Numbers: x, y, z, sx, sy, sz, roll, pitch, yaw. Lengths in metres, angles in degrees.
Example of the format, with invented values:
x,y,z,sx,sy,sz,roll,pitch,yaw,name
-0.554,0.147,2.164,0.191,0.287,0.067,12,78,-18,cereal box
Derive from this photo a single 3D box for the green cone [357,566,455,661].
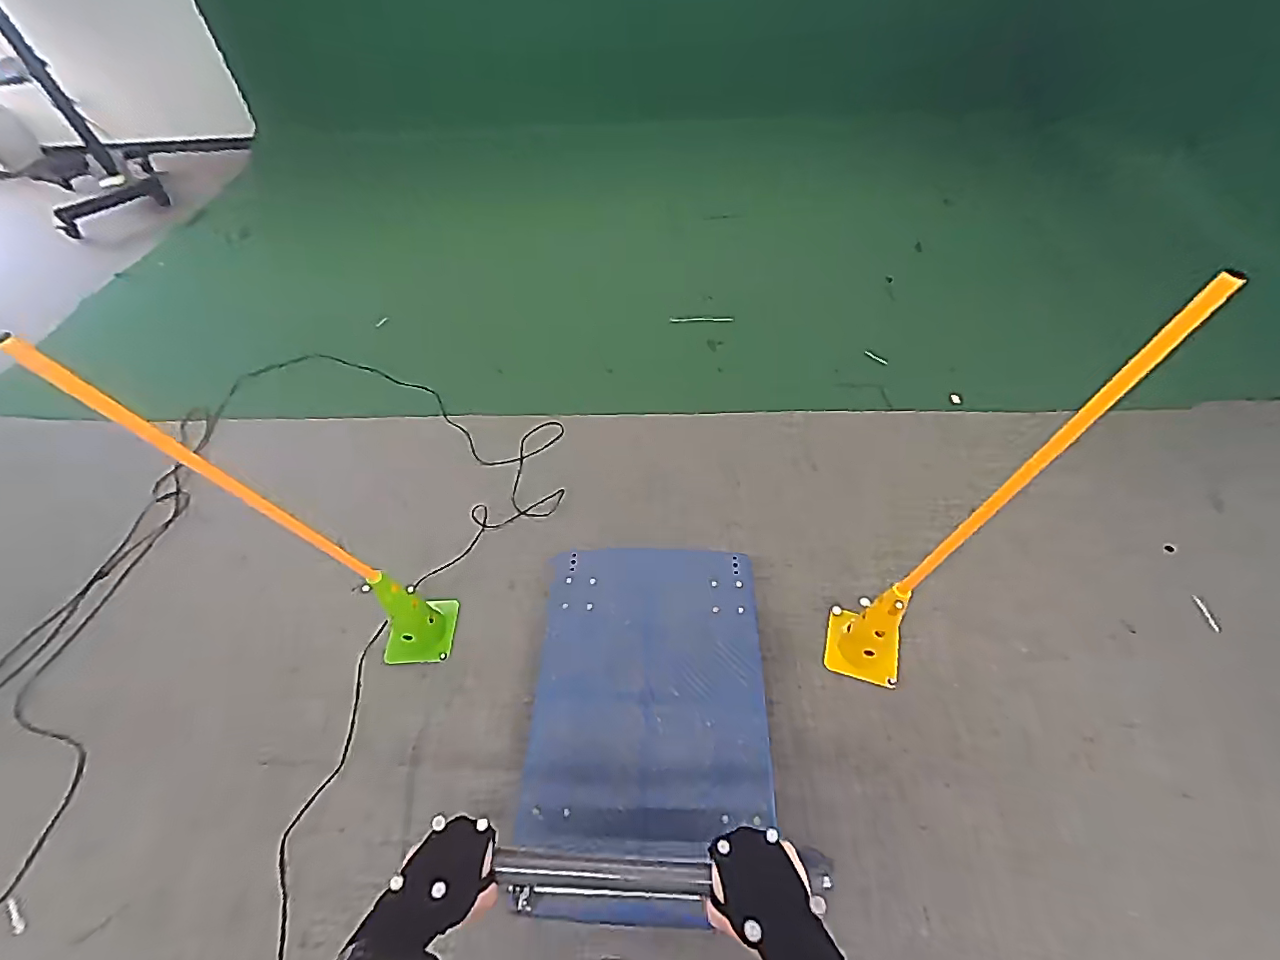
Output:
x,y,z,sx,sy,sz,roll,pitch,yaw,name
-0.691,0.347,1.530,0.202,0.368,0.200,-4,51,2,green cone
